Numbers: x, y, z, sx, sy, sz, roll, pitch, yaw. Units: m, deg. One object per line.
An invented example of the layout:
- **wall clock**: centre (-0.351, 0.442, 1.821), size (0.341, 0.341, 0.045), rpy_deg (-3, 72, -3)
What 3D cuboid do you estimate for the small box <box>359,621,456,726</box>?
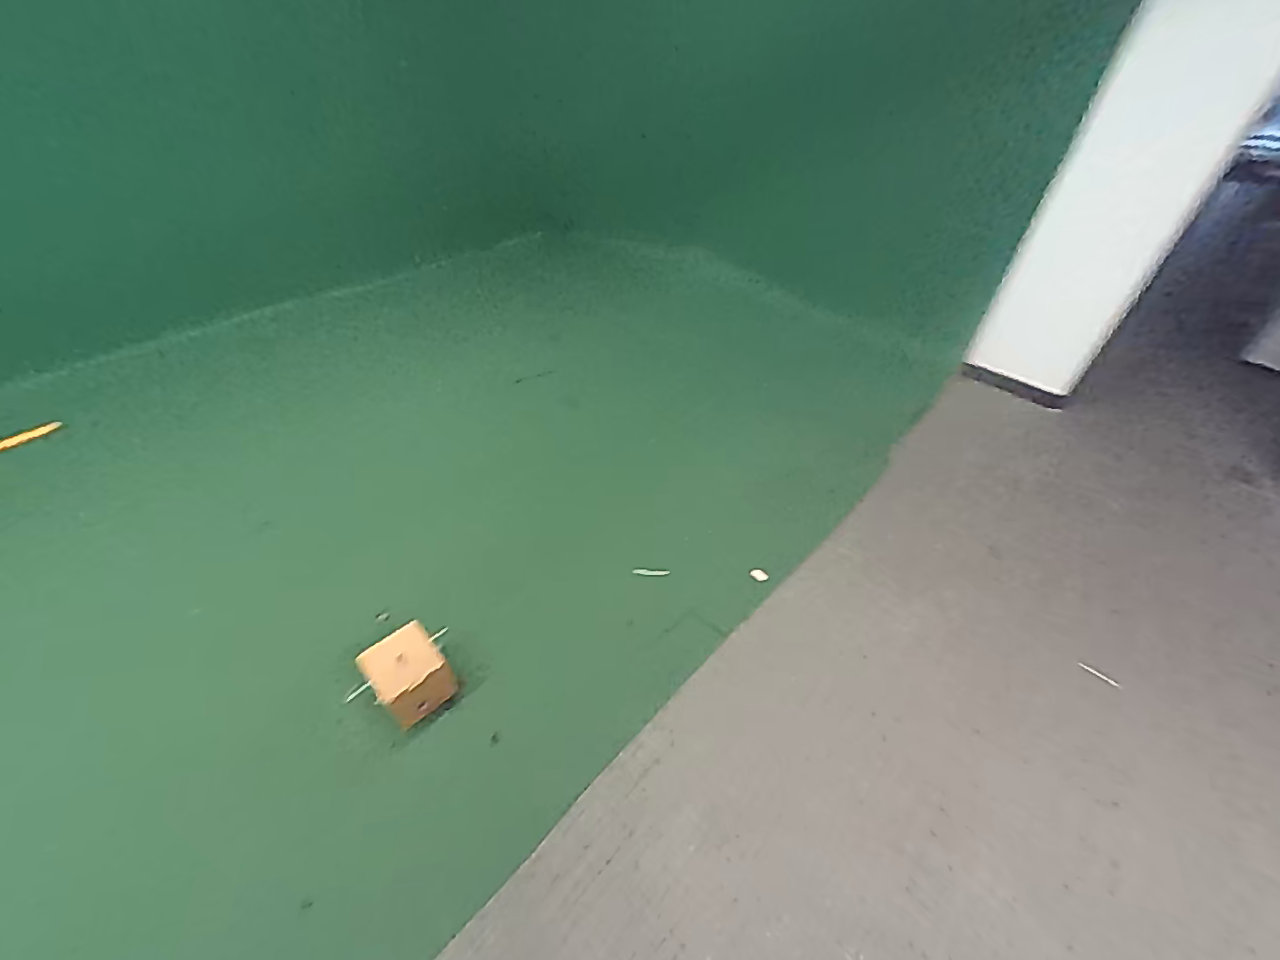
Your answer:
- **small box**: centre (-0.633, 0.532, 1.483), size (0.168, 0.176, 0.179), rpy_deg (-32, 54, -31)
